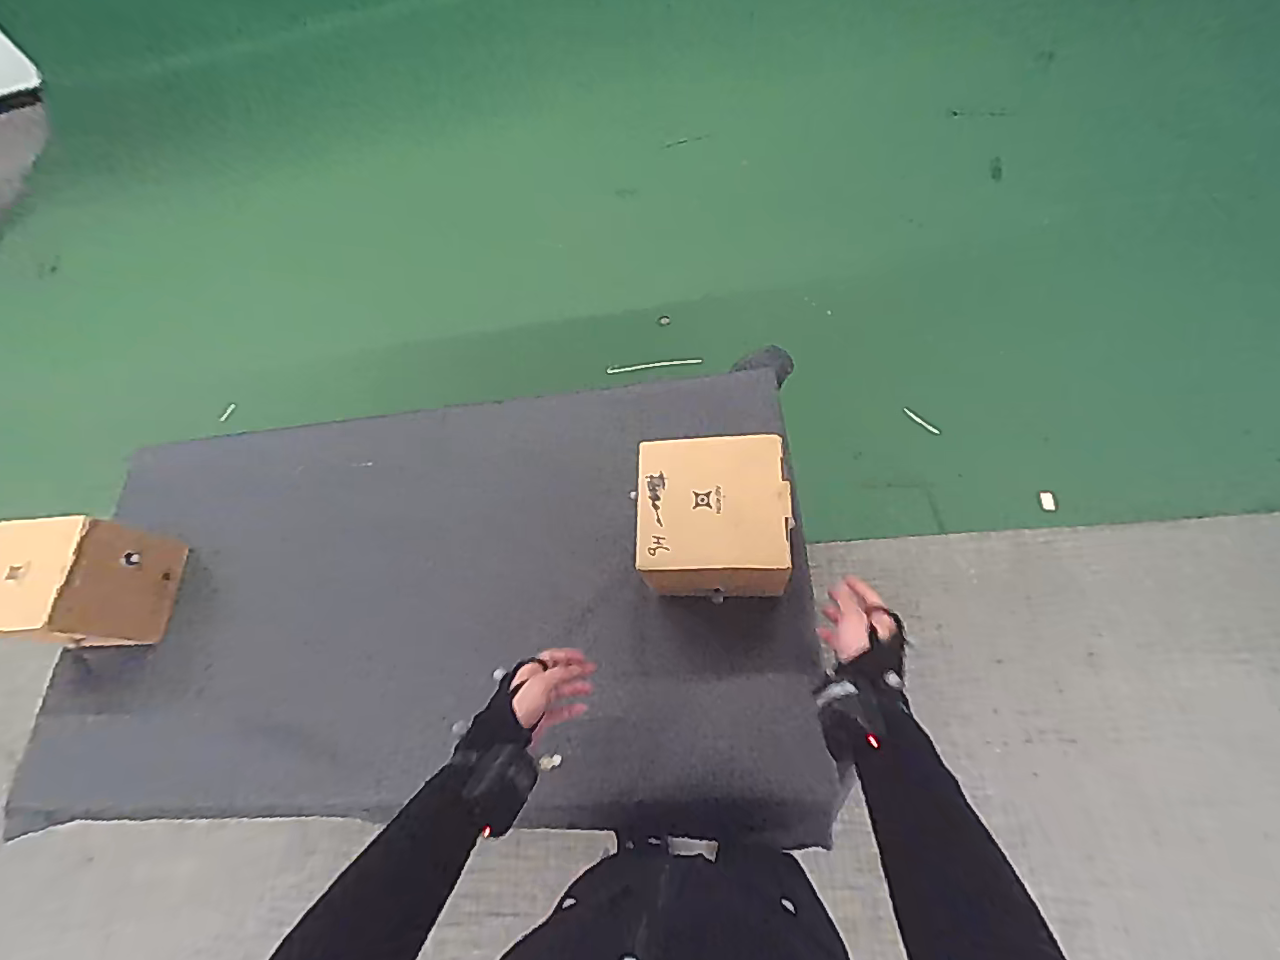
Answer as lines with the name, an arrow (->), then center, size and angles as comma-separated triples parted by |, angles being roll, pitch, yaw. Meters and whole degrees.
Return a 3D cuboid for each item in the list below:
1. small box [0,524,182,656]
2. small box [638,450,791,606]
small box -> -0.870, 0.173, 0.829 | 0.179, 0.176, 0.168 | -3, 64, 9
small box -> 0.098, 0.070, 0.716 | 0.179, 0.176, 0.168 | -2, 67, 9
